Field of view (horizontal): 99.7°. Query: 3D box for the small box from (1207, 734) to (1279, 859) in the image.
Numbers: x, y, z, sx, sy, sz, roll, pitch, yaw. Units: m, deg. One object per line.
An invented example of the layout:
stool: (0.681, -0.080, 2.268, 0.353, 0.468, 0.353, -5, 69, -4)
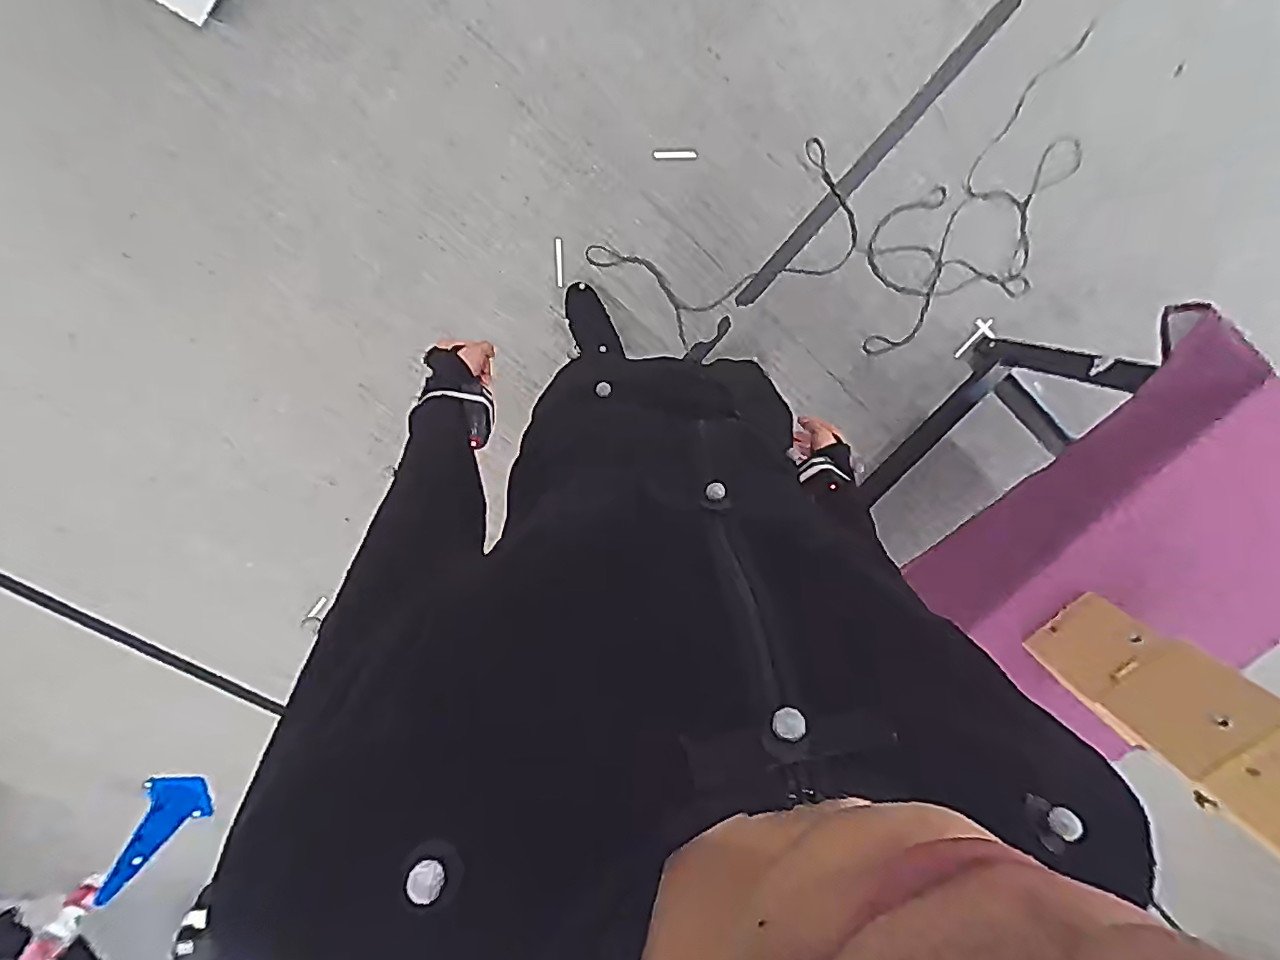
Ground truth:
small box: (0.942, 0.463, 0.727, 0.179, 0.176, 0.168, 39, 102, -19)

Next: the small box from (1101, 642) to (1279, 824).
small box: (0.921, 0.400, 0.876, 0.168, 0.176, 0.179, 40, 103, -18)
